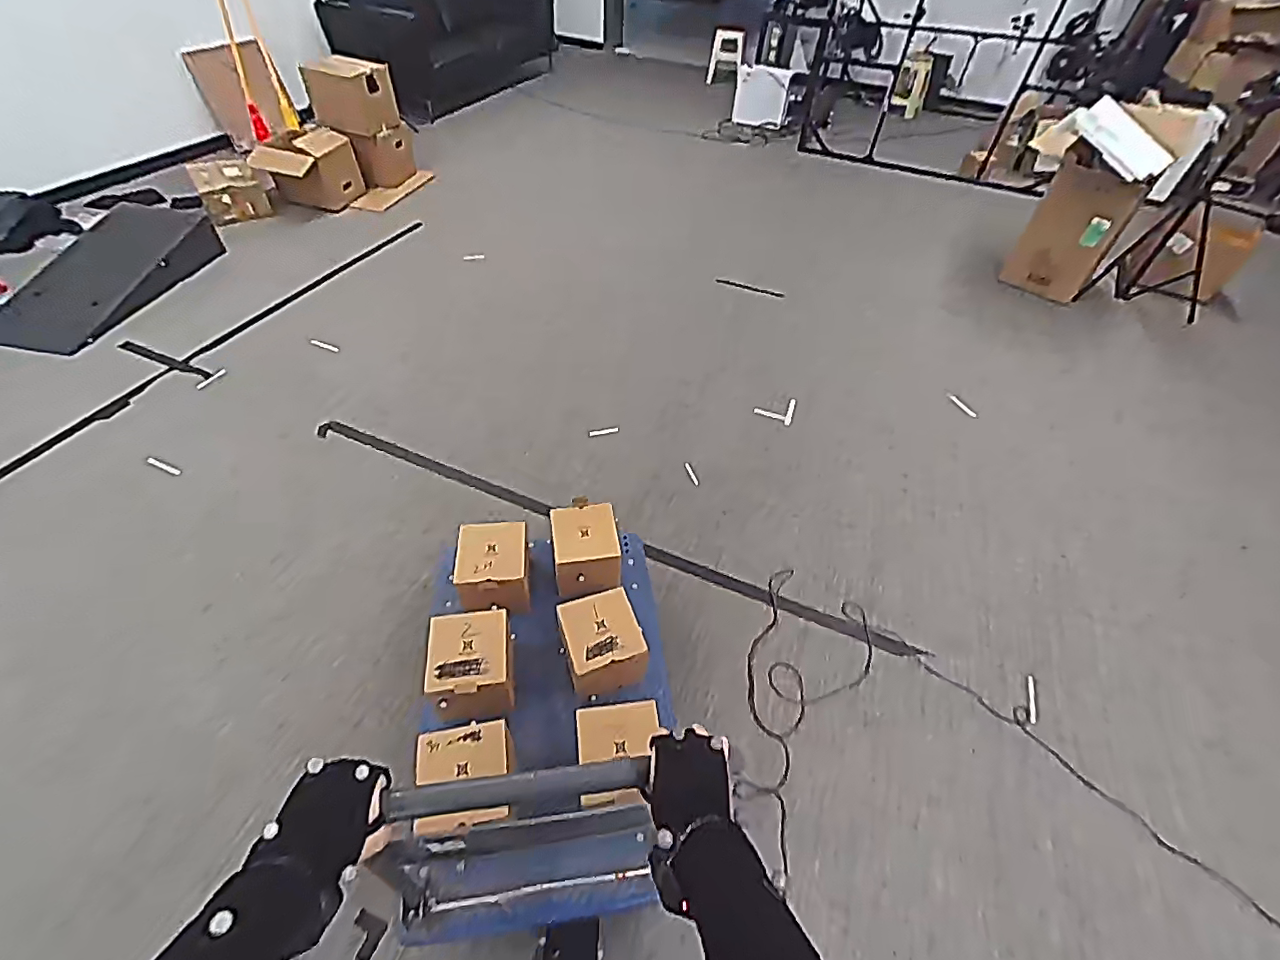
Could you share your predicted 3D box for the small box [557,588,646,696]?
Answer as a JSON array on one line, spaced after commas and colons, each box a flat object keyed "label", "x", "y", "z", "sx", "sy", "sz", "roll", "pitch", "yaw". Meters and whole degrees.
[{"label": "small box", "x": -0.094, "y": 0.389, "z": 1.282, "sx": 0.168, "sy": 0.176, "sz": 0.179, "roll": -13, "pitch": 49, "yaw": -16}]

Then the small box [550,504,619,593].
[{"label": "small box", "x": -0.150, "y": 0.190, "z": 1.459, "sx": 0.168, "sy": 0.176, "sz": 0.179, "roll": -6, "pitch": 49, "yaw": -10}]

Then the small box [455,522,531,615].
[{"label": "small box", "x": -0.373, "y": 0.230, "z": 1.399, "sx": 0.168, "sy": 0.176, "sz": 0.179, "roll": -2, "pitch": 49, "yaw": -7}]

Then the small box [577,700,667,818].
[{"label": "small box", "x": -0.043, "y": 0.579, "z": 1.115, "sx": 0.168, "sy": 0.176, "sz": 0.179, "roll": -3, "pitch": 47, "yaw": -8}]

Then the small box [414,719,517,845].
[{"label": "small box", "x": -0.336, "y": 0.601, "z": 1.067, "sx": 0.168, "sy": 0.176, "sz": 0.179, "roll": -6, "pitch": 49, "yaw": -11}]
